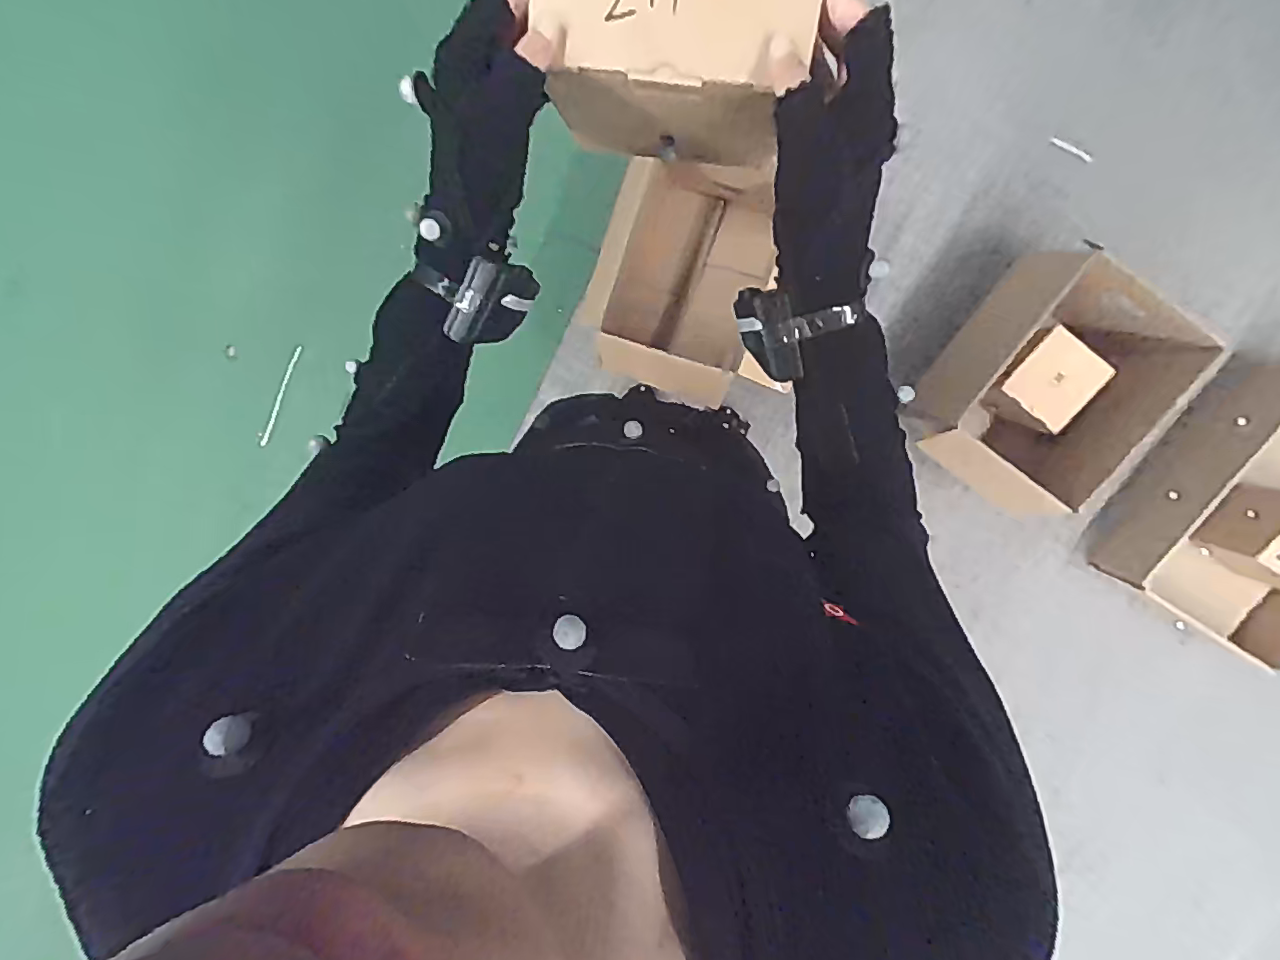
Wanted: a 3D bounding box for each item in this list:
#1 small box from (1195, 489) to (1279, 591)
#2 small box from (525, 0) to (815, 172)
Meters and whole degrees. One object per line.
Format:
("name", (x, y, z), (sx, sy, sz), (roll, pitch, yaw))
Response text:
("small box", (1.451, 0.143, 1.238), (0.168, 0.176, 0.179), (35, 99, -2))
("small box", (0.030, -0.339, 0.371), (0.168, 0.176, 0.179), (9, 107, 3))
